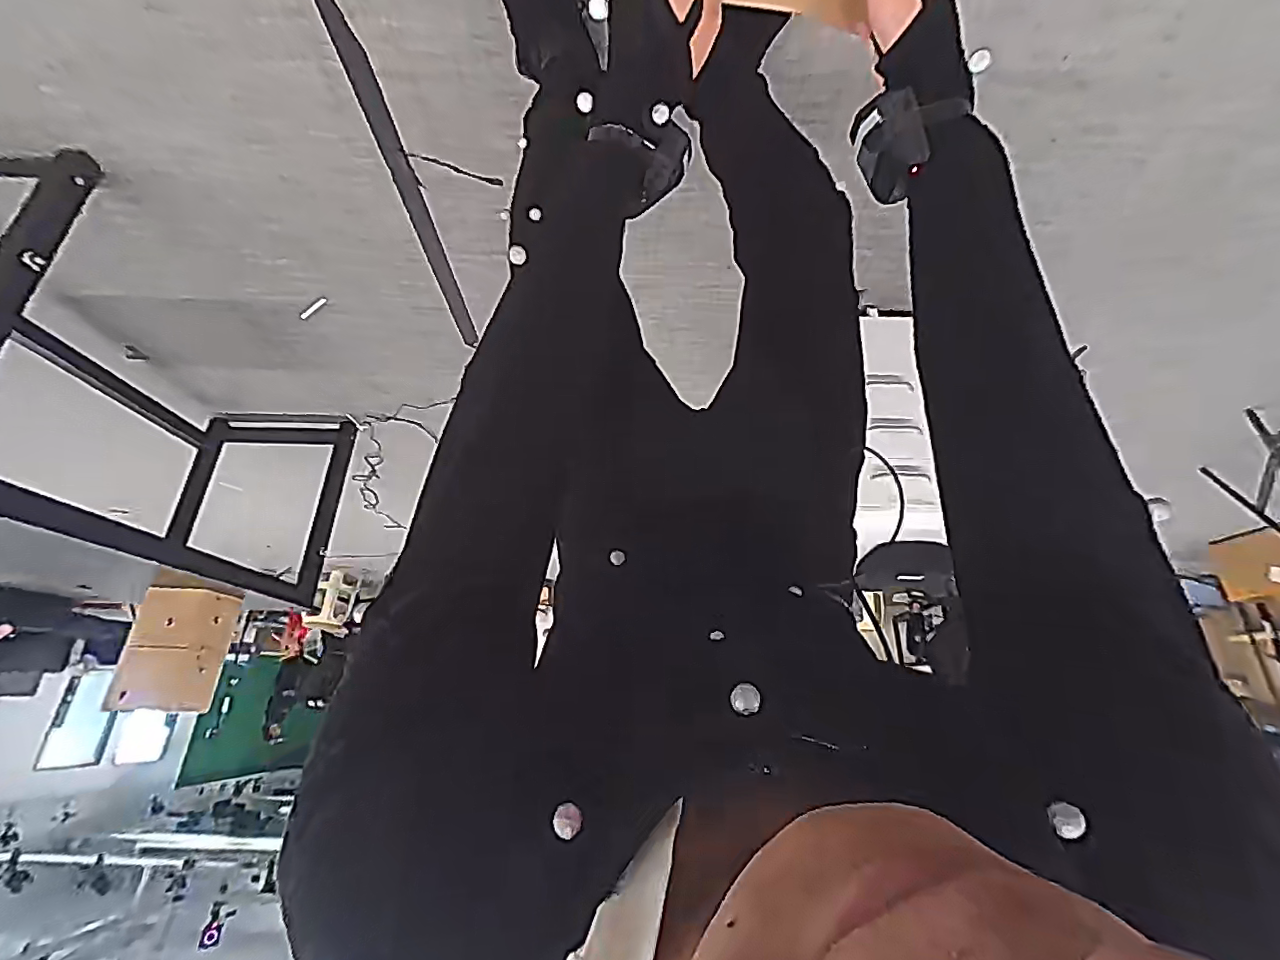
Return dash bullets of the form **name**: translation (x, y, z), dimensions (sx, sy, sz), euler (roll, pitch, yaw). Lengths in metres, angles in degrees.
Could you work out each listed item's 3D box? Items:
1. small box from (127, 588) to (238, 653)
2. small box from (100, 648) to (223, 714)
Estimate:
- **small box**: translation (-1.333, 0.417, 1.594), dimensions (0.179, 0.176, 0.168), euler (1, 157, 2)
- **small box**: translation (-1.339, 0.568, 1.529), dimensions (0.179, 0.176, 0.168), euler (1, 158, 1)
